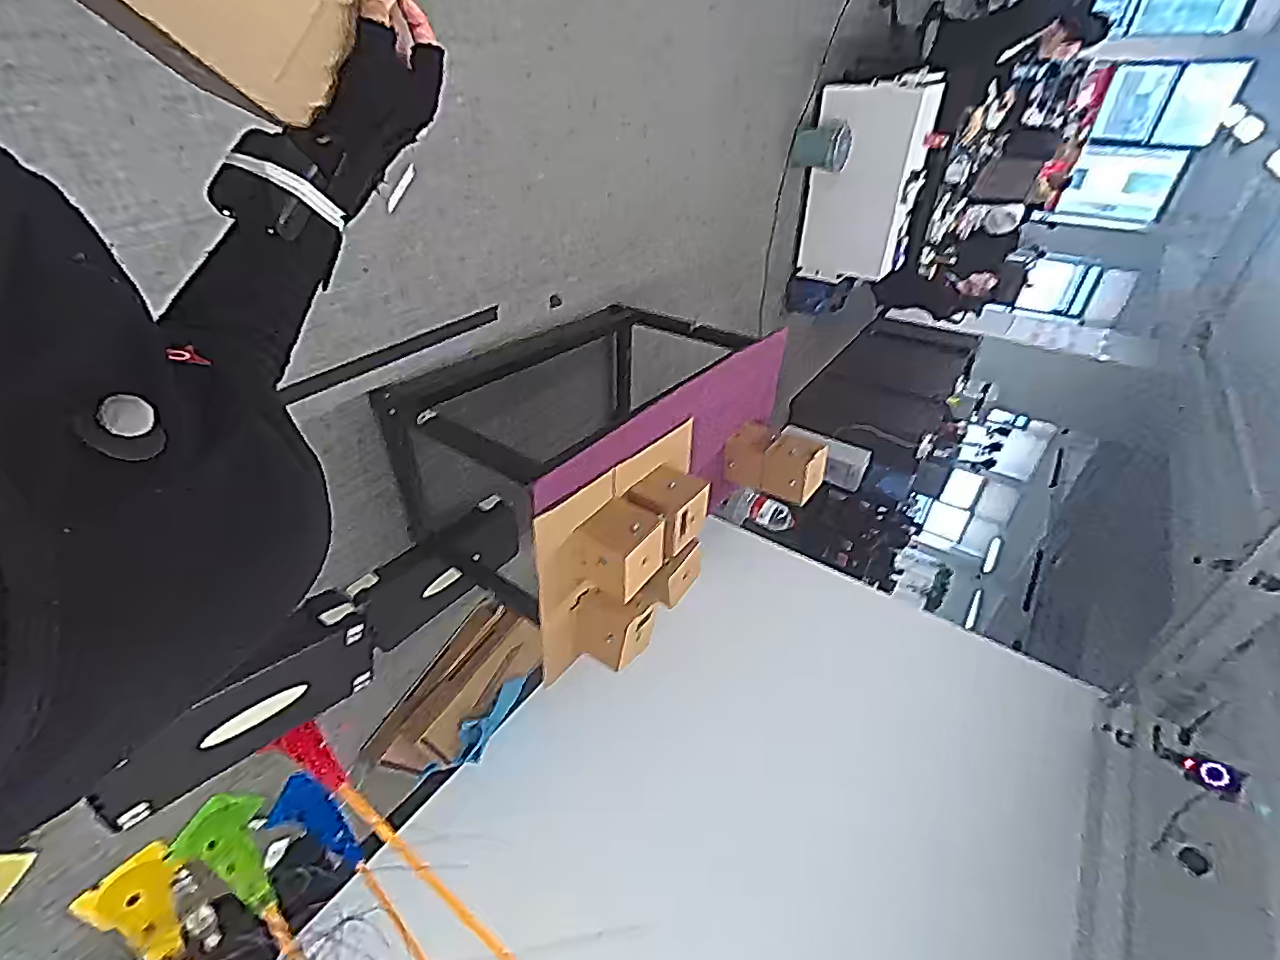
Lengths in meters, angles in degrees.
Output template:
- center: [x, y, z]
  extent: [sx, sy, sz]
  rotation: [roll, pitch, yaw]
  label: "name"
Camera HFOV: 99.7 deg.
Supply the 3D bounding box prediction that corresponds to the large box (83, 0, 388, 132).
- center: [-0.384, -0.525, 0.336]
  extent: [0.320, 0.320, 0.408]
  rotation: [-56, 150, 5]
  label: "large box"
